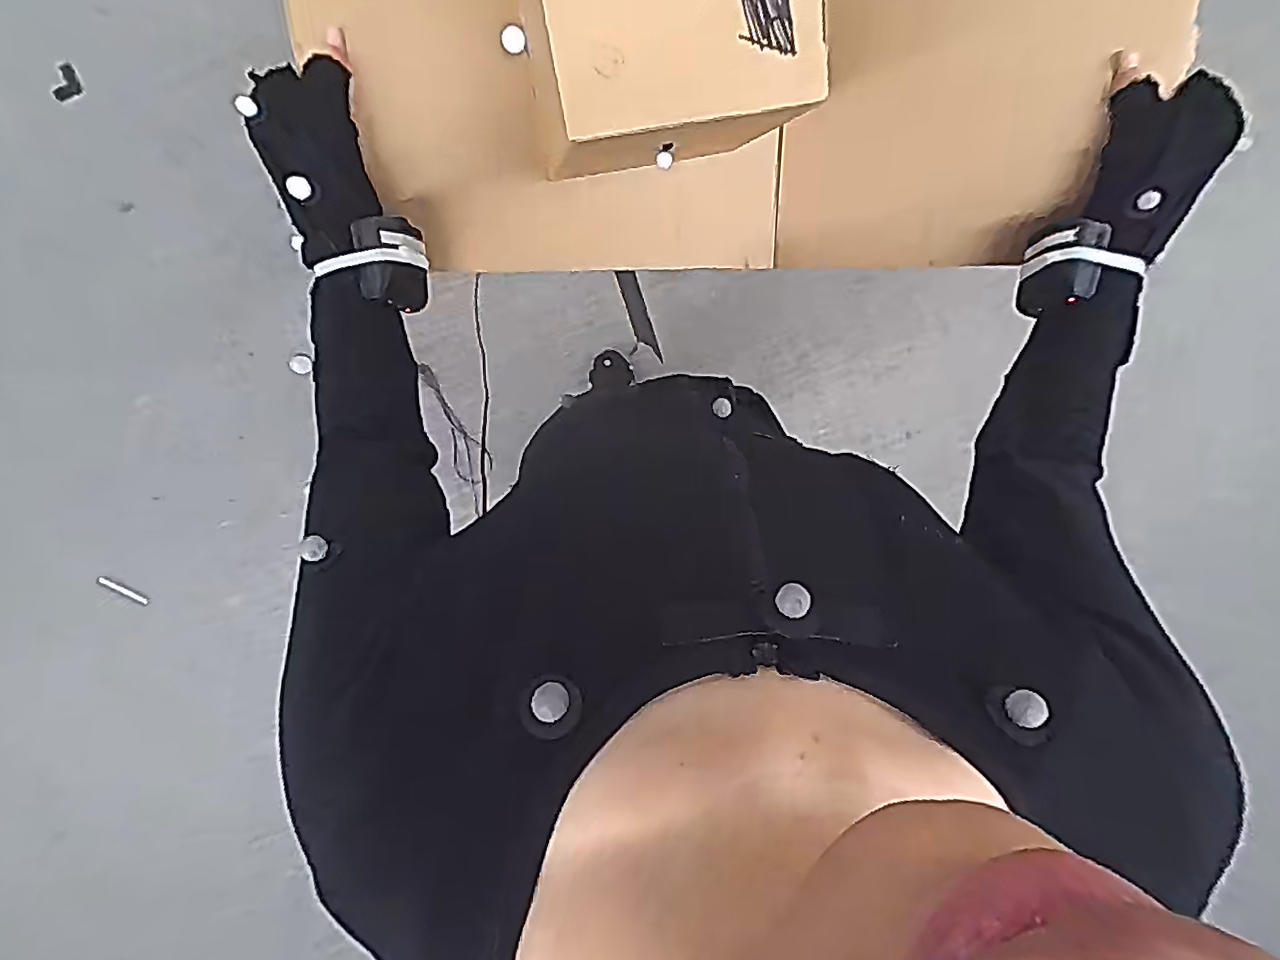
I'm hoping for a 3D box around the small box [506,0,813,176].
[{"bbox_3d":[0.002,-0.333,0.390,0.179,0.176,0.168,-14,114,-7],"label":"small box"}]
